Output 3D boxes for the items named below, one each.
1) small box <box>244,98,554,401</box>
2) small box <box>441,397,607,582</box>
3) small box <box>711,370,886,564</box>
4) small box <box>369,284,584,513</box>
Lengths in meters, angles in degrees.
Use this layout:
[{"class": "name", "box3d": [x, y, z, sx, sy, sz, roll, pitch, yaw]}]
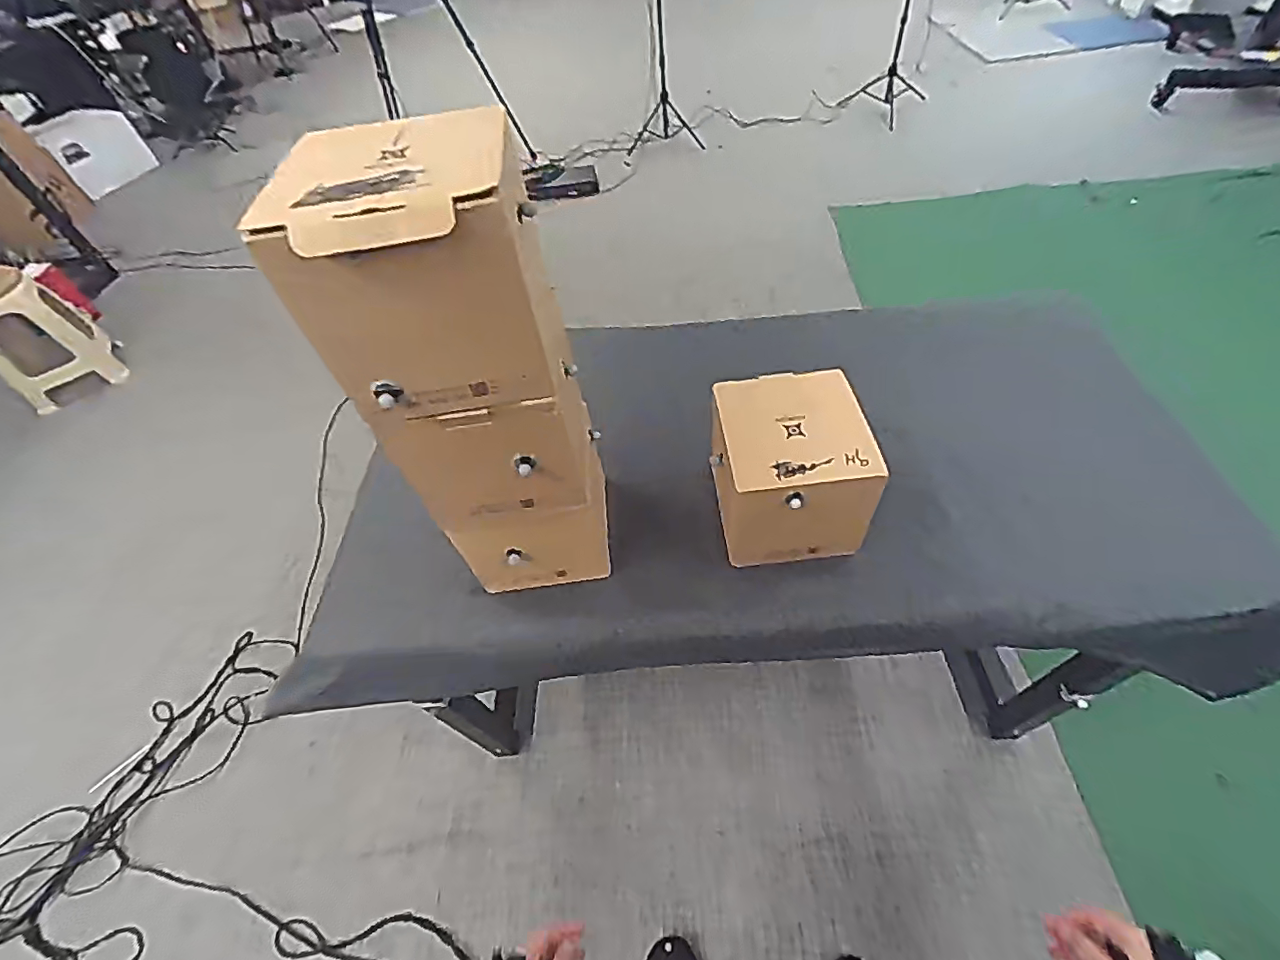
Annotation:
[{"class": "small box", "box3d": [-0.168, -0.181, 0.446, 0.168, 0.176, 0.179, -9, 51, -2]}, {"class": "small box", "box3d": [-0.138, 0.020, 0.703, 0.168, 0.176, 0.179, -8, 51, 1]}, {"class": "small box", "box3d": [0.184, -0.014, 0.692, 0.168, 0.176, 0.179, -6, 51, 2]}, {"class": "small box", "box3d": [-0.154, -0.078, 0.574, 0.168, 0.176, 0.179, -7, 50, -1]}]
